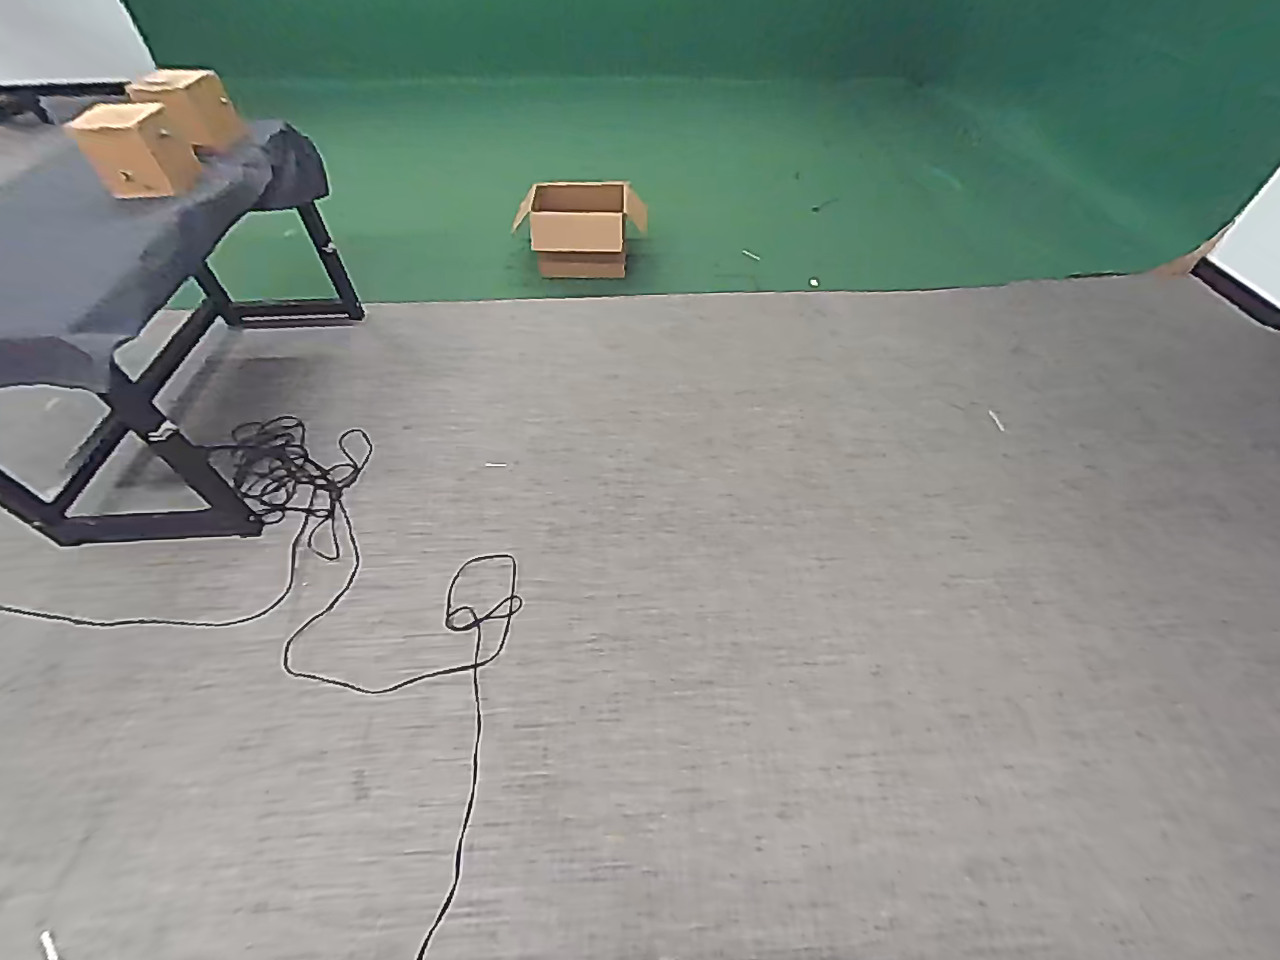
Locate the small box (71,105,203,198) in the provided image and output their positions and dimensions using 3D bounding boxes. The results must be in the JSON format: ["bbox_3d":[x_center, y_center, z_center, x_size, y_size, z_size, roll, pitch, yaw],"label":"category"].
[{"bbox_3d":[-1.320,-0.873,1.439,0.168,0.176,0.179,-4,51,-4],"label":"small box"}]
